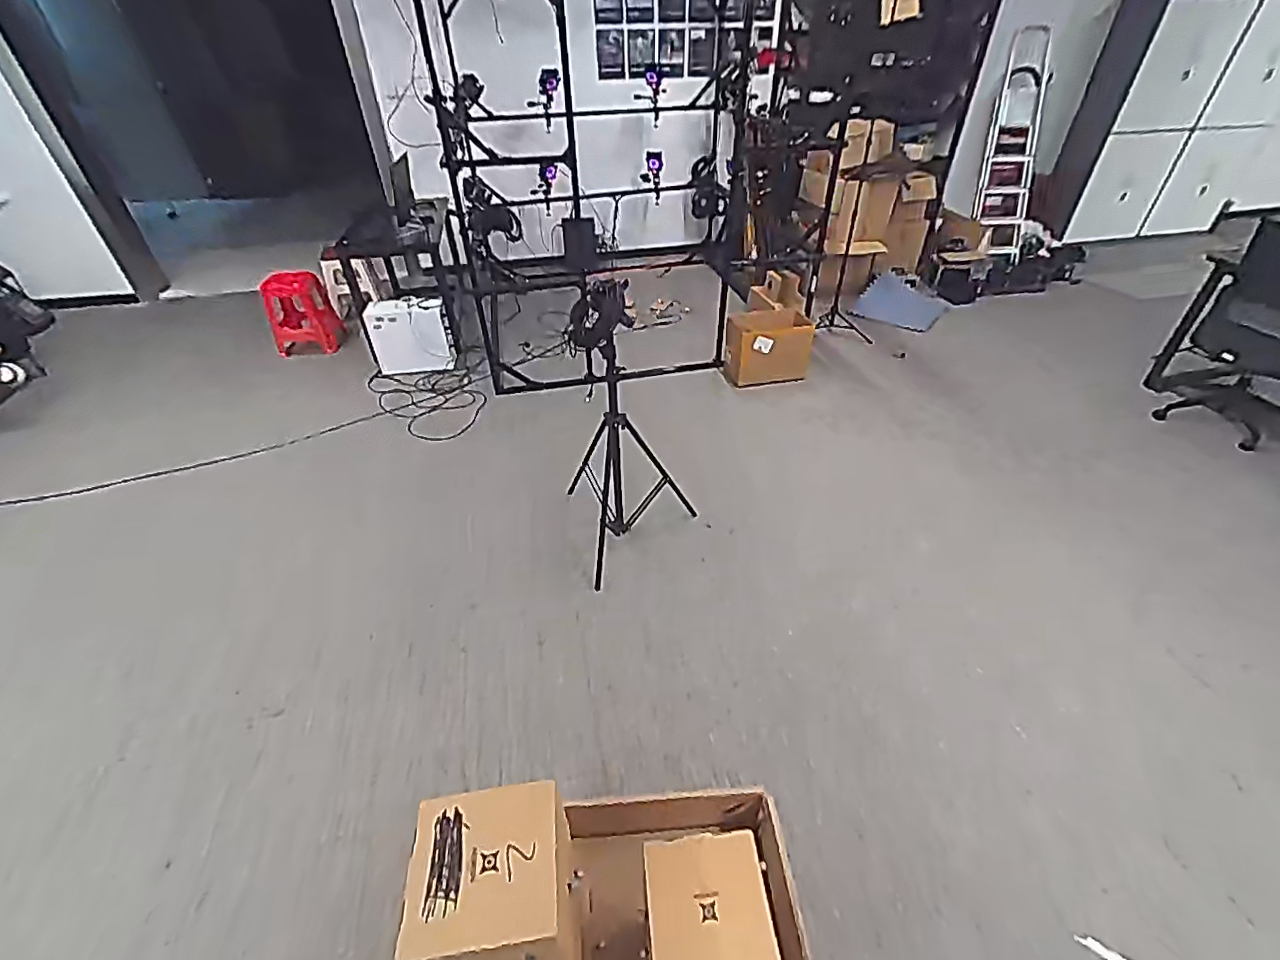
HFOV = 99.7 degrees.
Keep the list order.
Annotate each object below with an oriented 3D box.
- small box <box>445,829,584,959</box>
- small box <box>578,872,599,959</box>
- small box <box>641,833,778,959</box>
[{"bbox_3d":[-0.173,0.648,0.784,0.168,0.176,0.179,-8,38,-5],"label":"small box"},{"bbox_3d":[-0.160,0.777,0.885,0.179,0.176,0.168,-5,39,-5],"label":"small box"},{"bbox_3d":[0.093,0.646,0.781,0.168,0.176,0.179,-4,38,-4],"label":"small box"}]
